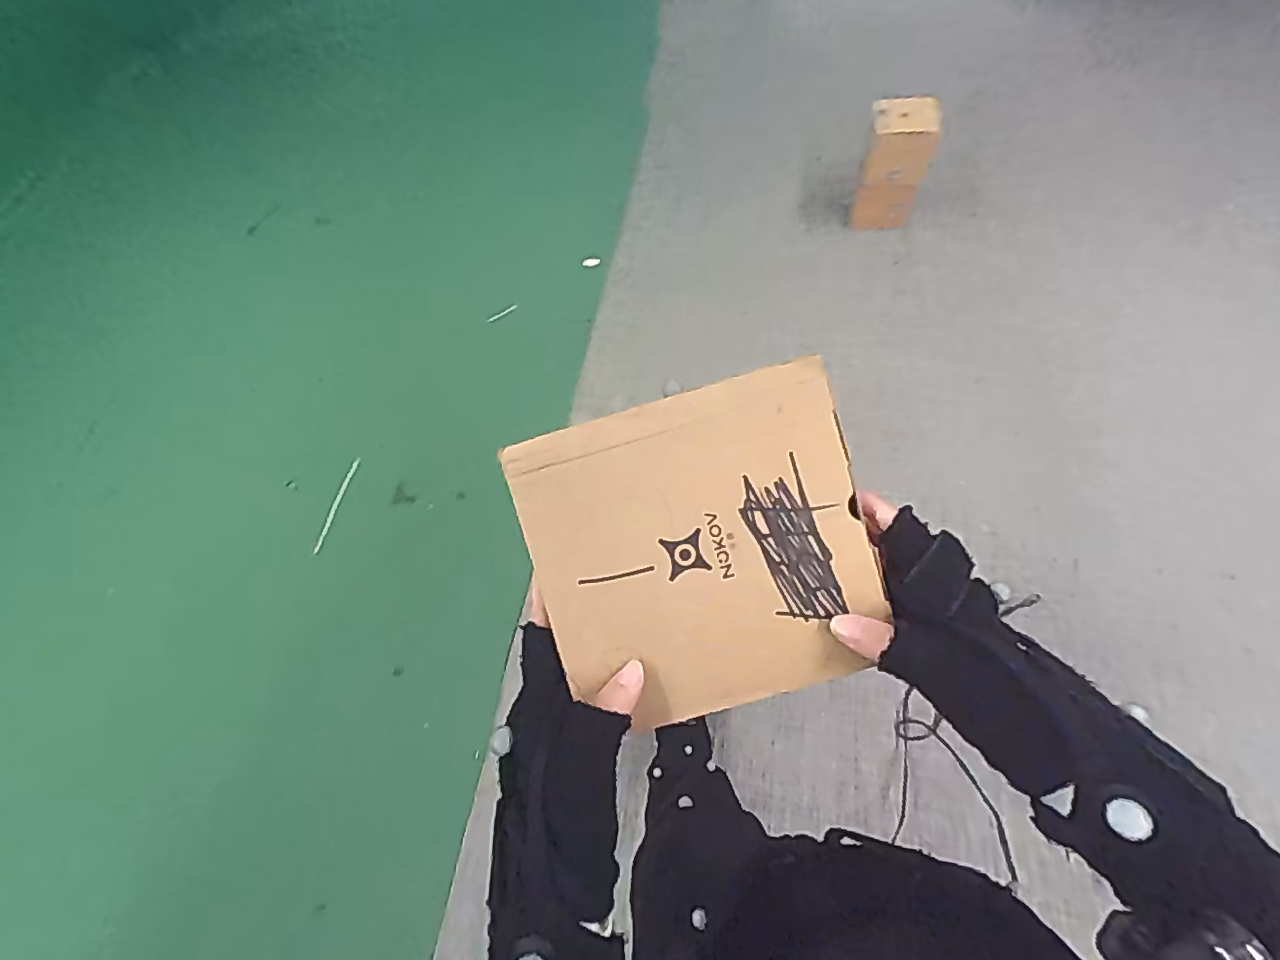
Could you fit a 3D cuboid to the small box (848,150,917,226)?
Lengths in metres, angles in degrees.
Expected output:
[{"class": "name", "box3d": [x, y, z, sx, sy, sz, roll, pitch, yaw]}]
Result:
[{"class": "small box", "box3d": [0.803, -0.972, 1.804, 0.179, 0.176, 0.168, 4, 64, 12]}]

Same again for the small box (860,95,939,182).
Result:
[{"class": "small box", "box3d": [0.788, -1.039, 1.655, 0.179, 0.176, 0.168, 5, 65, 10]}]

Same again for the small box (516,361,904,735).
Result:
[{"class": "small box", "box3d": [0.038, 0.033, 0.370, 0.179, 0.176, 0.168, -18, 92, 2]}]
